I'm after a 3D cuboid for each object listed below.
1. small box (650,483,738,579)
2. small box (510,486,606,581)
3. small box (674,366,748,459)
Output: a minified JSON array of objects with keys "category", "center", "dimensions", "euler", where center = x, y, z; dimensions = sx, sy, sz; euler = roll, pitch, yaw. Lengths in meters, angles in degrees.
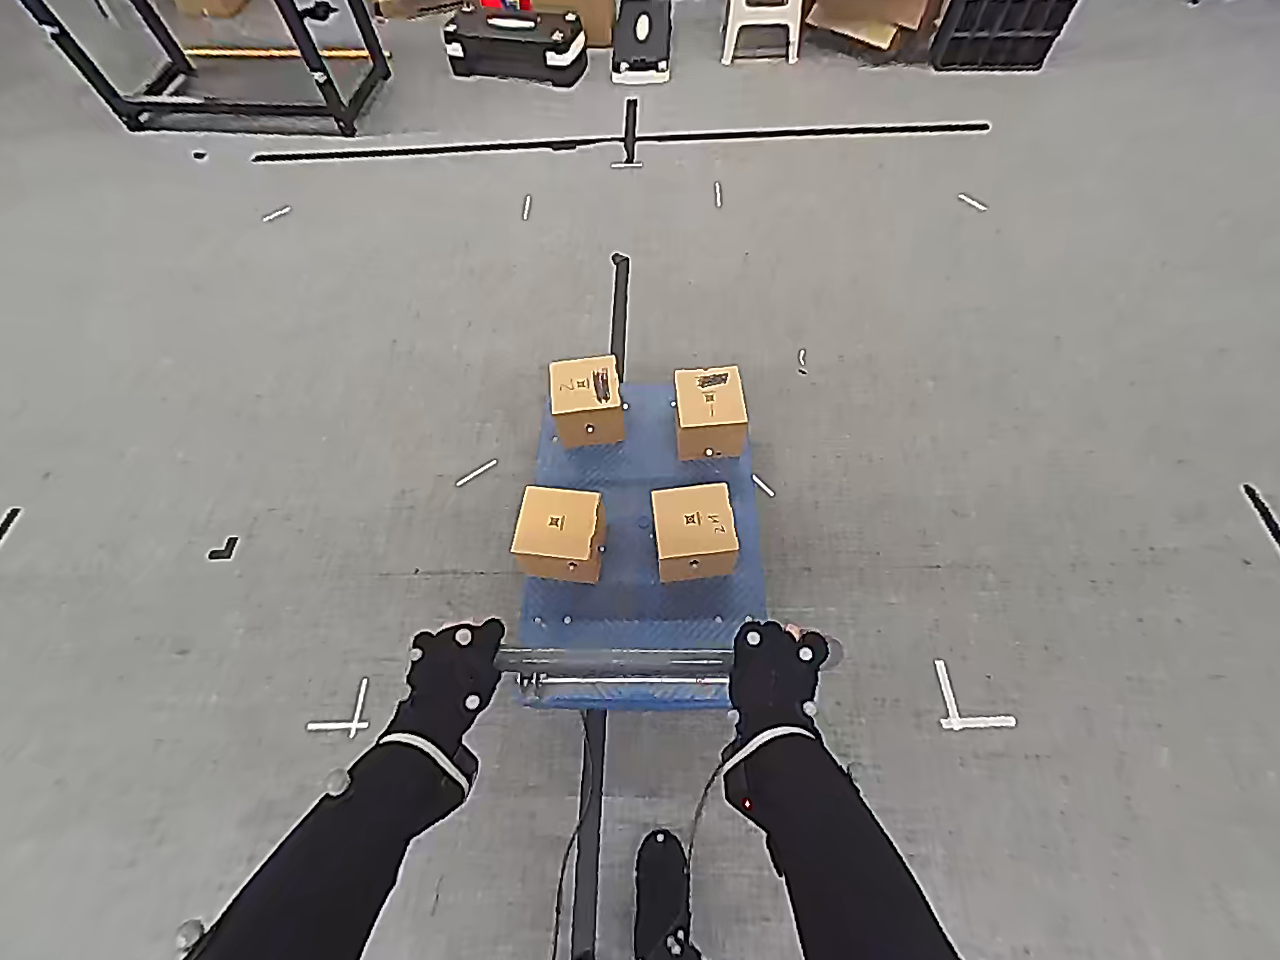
[{"category":"small box","center":[0.121,0.124,1.253],"dimensions":[0.179,0.176,0.168],"euler":[-6,63,0]},{"category":"small box","center":[-0.183,0.130,1.268],"dimensions":[0.179,0.176,0.168],"euler":[6,63,4]},{"category":"small box","center":[0.176,-0.172,1.404],"dimensions":[0.168,0.176,0.179],"euler":[-4,63,1]}]
